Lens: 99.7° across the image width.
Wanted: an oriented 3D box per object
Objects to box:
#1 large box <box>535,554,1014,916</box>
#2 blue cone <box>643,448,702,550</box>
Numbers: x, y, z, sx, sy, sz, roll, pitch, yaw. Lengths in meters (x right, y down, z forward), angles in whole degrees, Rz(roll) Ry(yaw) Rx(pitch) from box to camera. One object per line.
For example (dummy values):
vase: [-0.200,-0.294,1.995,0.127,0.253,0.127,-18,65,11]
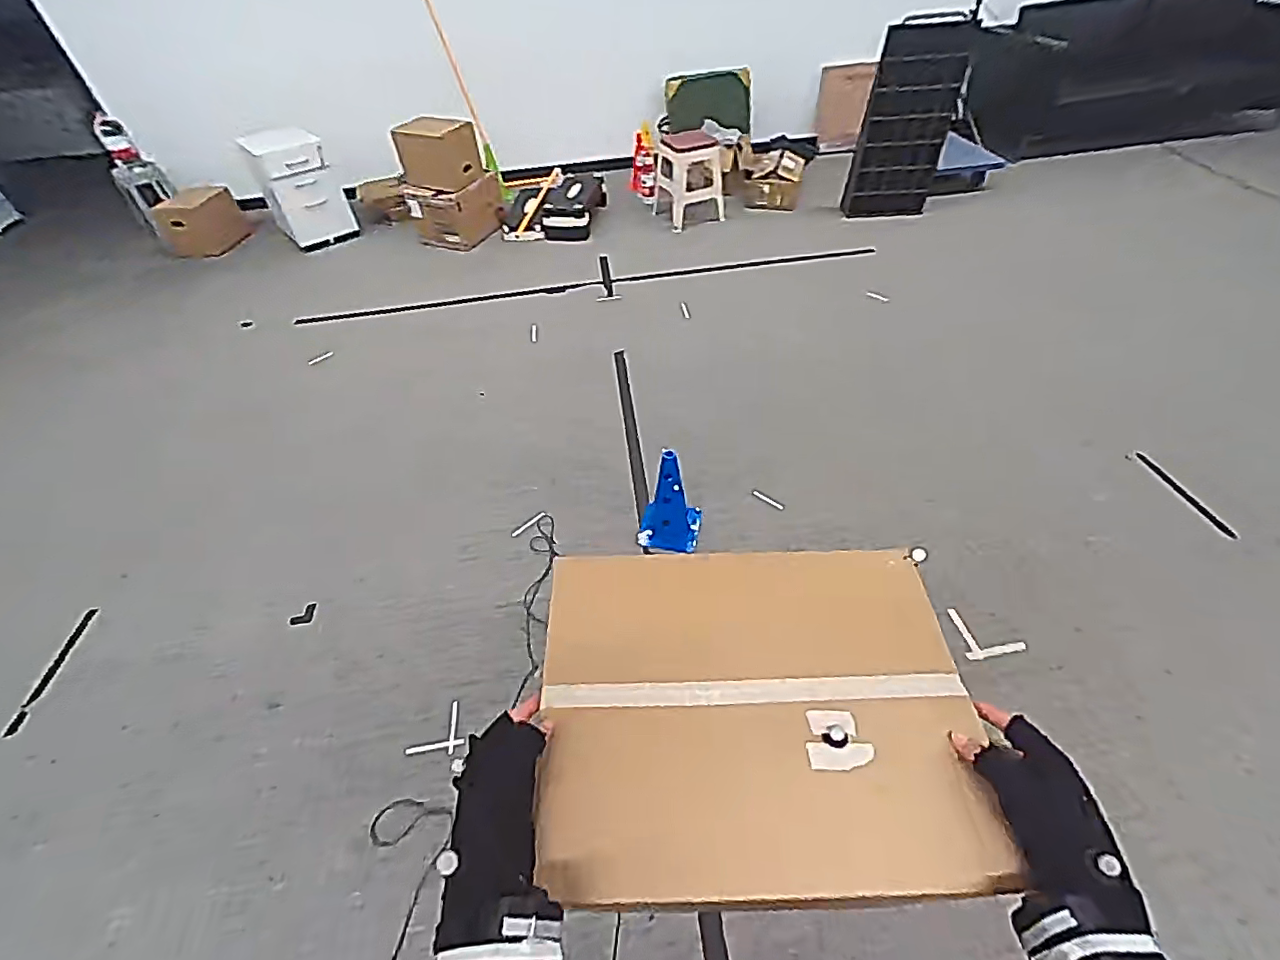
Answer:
large box: [0.106,0.307,0.646,0.408,0.320,0.320,-2,50,-1]
blue cone: [0.106,0.049,1.780,0.193,0.380,0.192,8,48,12]
